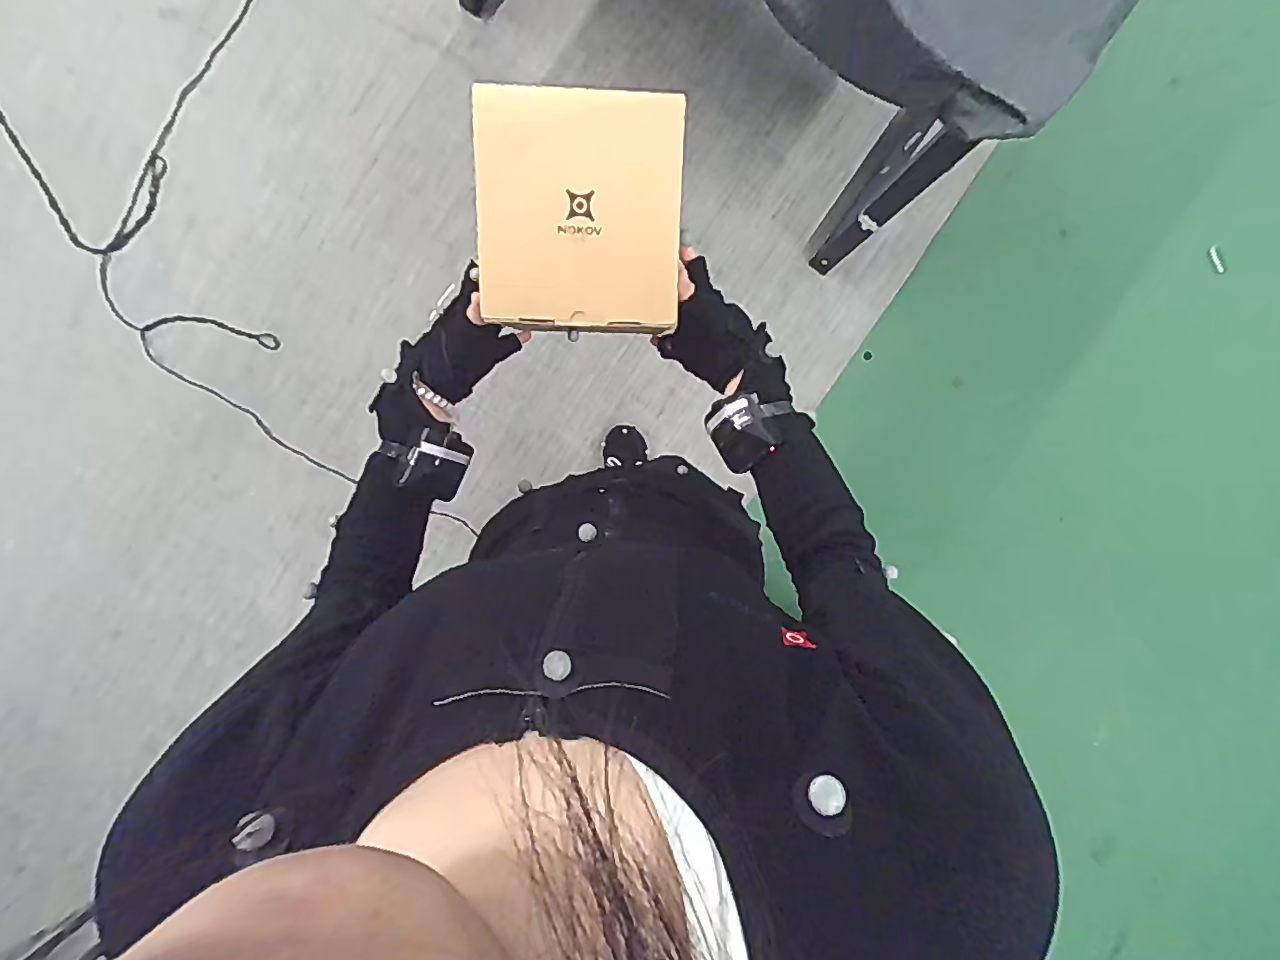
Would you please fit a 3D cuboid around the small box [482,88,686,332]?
[{"bbox_3d":[-0.053,-0.238,0.524,0.168,0.176,0.179,1,105,-4],"label":"small box"}]
